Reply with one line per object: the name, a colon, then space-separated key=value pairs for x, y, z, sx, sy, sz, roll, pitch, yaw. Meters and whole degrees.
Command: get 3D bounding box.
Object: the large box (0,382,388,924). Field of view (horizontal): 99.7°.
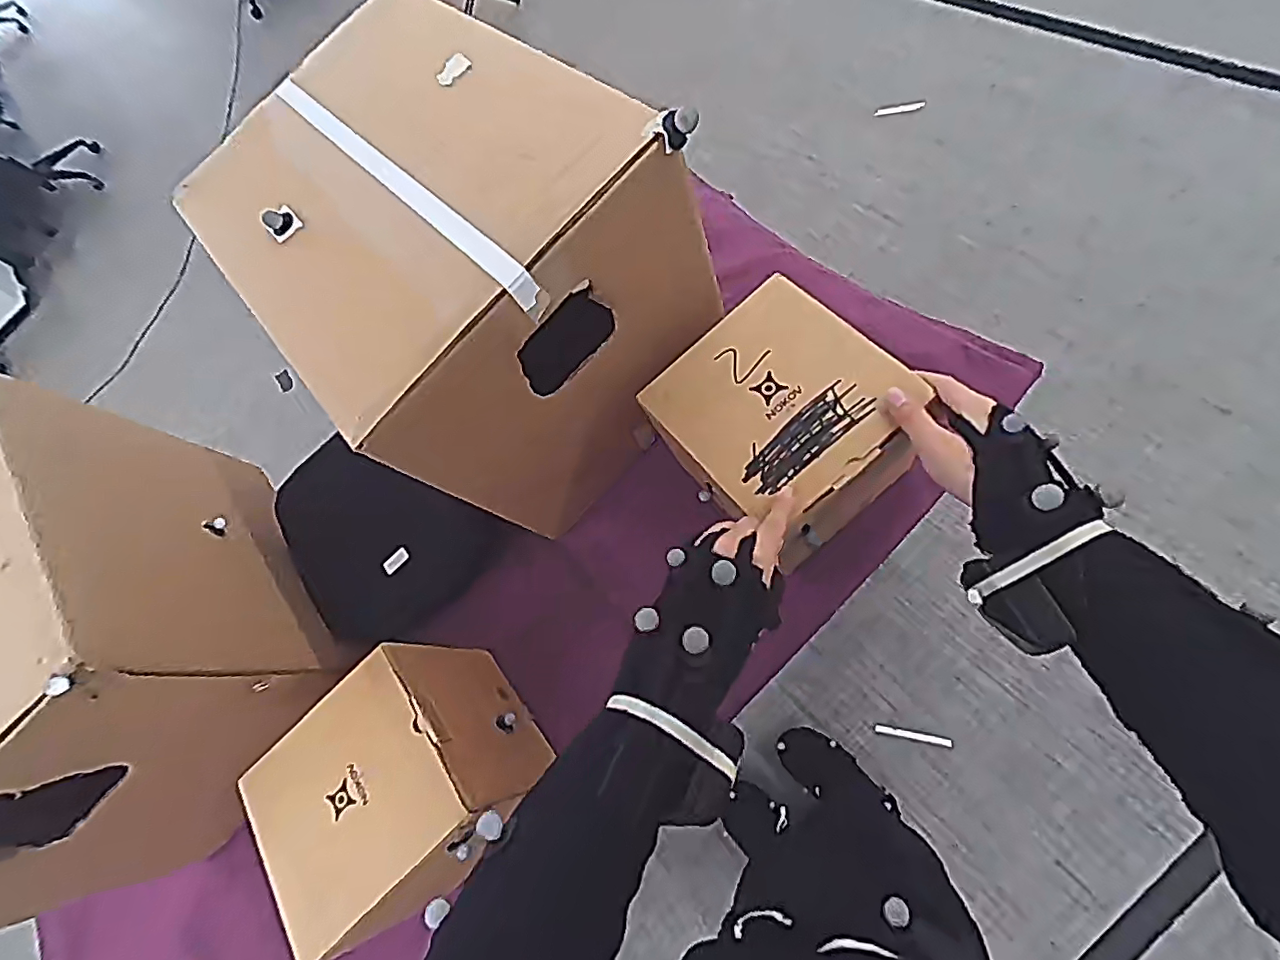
large box: x=-0.576 y=0.168 z=0.591 sx=0.408 sy=0.320 sz=0.320 roll=41 pitch=88 yaw=23
